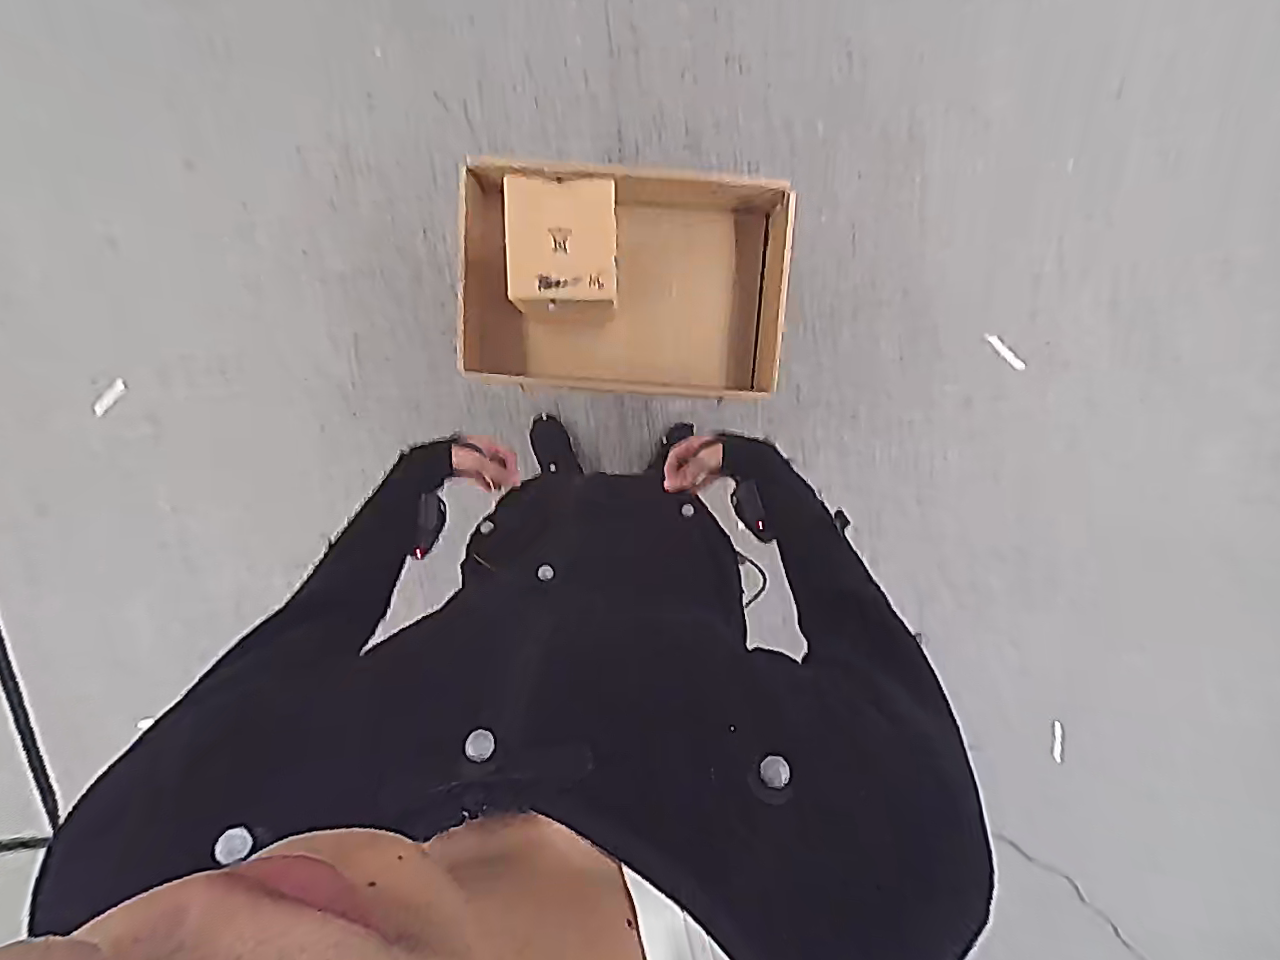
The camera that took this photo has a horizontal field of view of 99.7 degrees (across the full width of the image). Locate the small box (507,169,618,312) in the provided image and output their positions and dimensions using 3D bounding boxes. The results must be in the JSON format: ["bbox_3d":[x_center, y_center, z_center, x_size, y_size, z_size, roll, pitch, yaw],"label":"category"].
[{"bbox_3d":[-0.122,-0.382,0.889,0.168,0.176,0.179,0,99,-4],"label":"small box"}]
